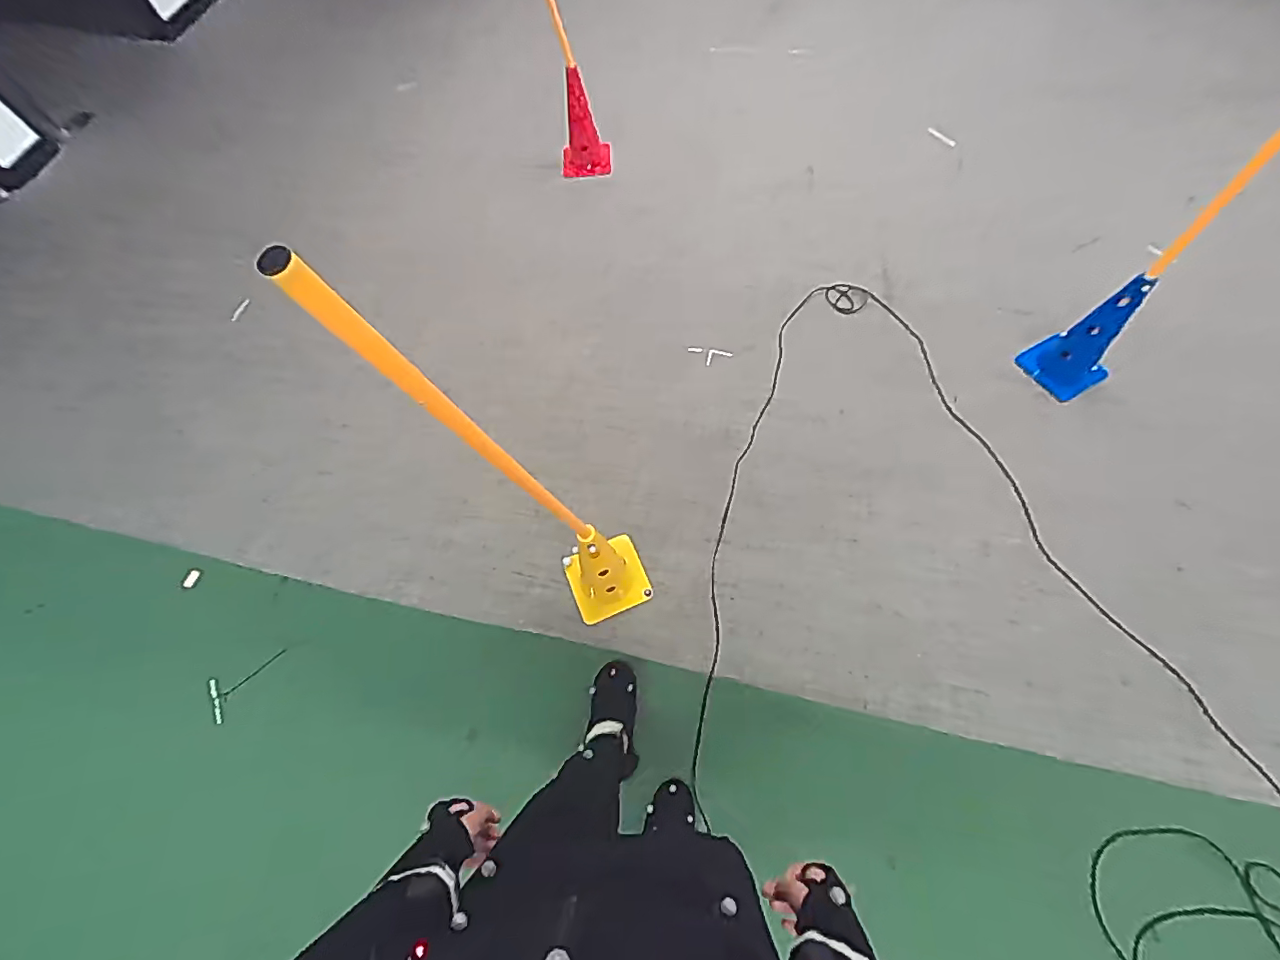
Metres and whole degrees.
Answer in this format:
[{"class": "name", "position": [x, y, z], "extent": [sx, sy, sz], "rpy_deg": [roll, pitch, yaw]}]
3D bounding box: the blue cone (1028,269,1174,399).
[{"class": "blue cone", "position": [1.278, -0.419, 1.477], "extent": [0.193, 0.380, 0.192], "rpy_deg": [-29, 65, -11]}]
